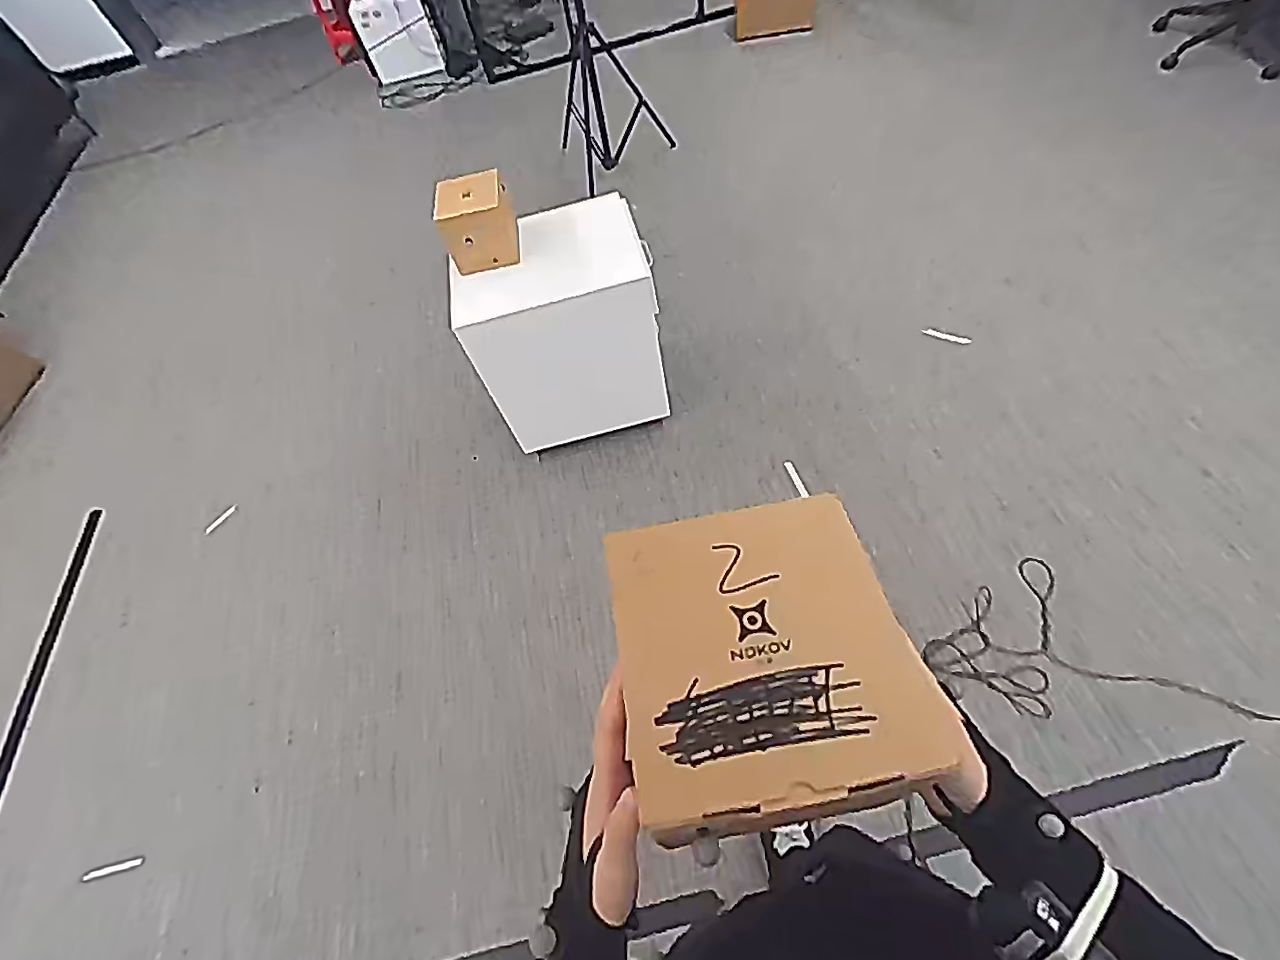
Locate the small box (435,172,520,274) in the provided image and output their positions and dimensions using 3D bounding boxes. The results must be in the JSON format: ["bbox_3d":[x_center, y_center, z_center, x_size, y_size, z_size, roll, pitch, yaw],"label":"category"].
[{"bbox_3d":[-0.420,-0.666,1.422,0.168,0.176,0.179,-12,57,2],"label":"small box"}]
